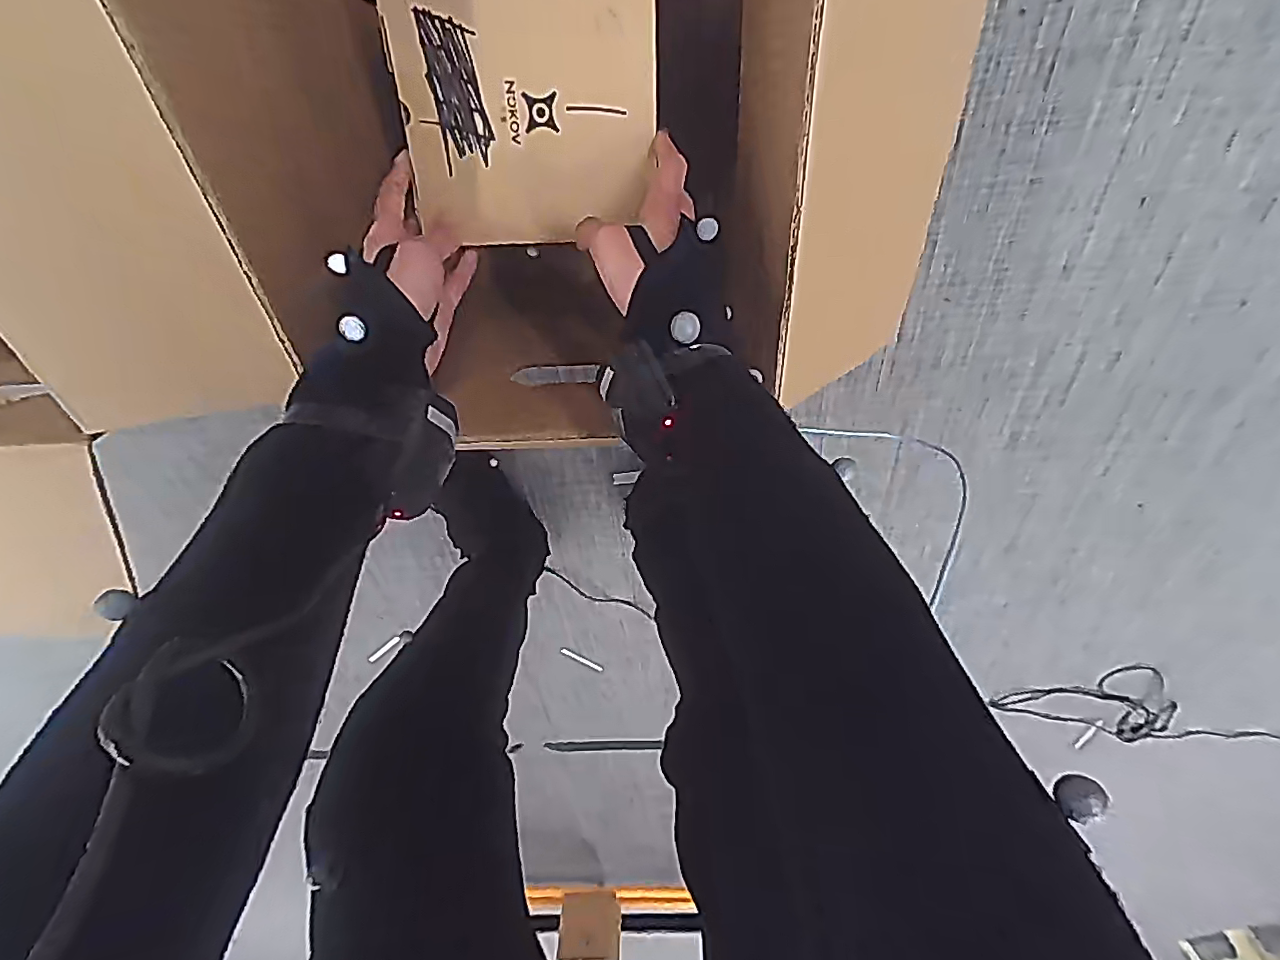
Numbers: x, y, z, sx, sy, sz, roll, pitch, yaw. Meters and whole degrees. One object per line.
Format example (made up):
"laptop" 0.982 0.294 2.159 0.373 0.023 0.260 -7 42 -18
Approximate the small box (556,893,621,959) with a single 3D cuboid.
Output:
"small box" -0.160 1.461 1.750 0.179 0.176 0.168 -5 130 5
